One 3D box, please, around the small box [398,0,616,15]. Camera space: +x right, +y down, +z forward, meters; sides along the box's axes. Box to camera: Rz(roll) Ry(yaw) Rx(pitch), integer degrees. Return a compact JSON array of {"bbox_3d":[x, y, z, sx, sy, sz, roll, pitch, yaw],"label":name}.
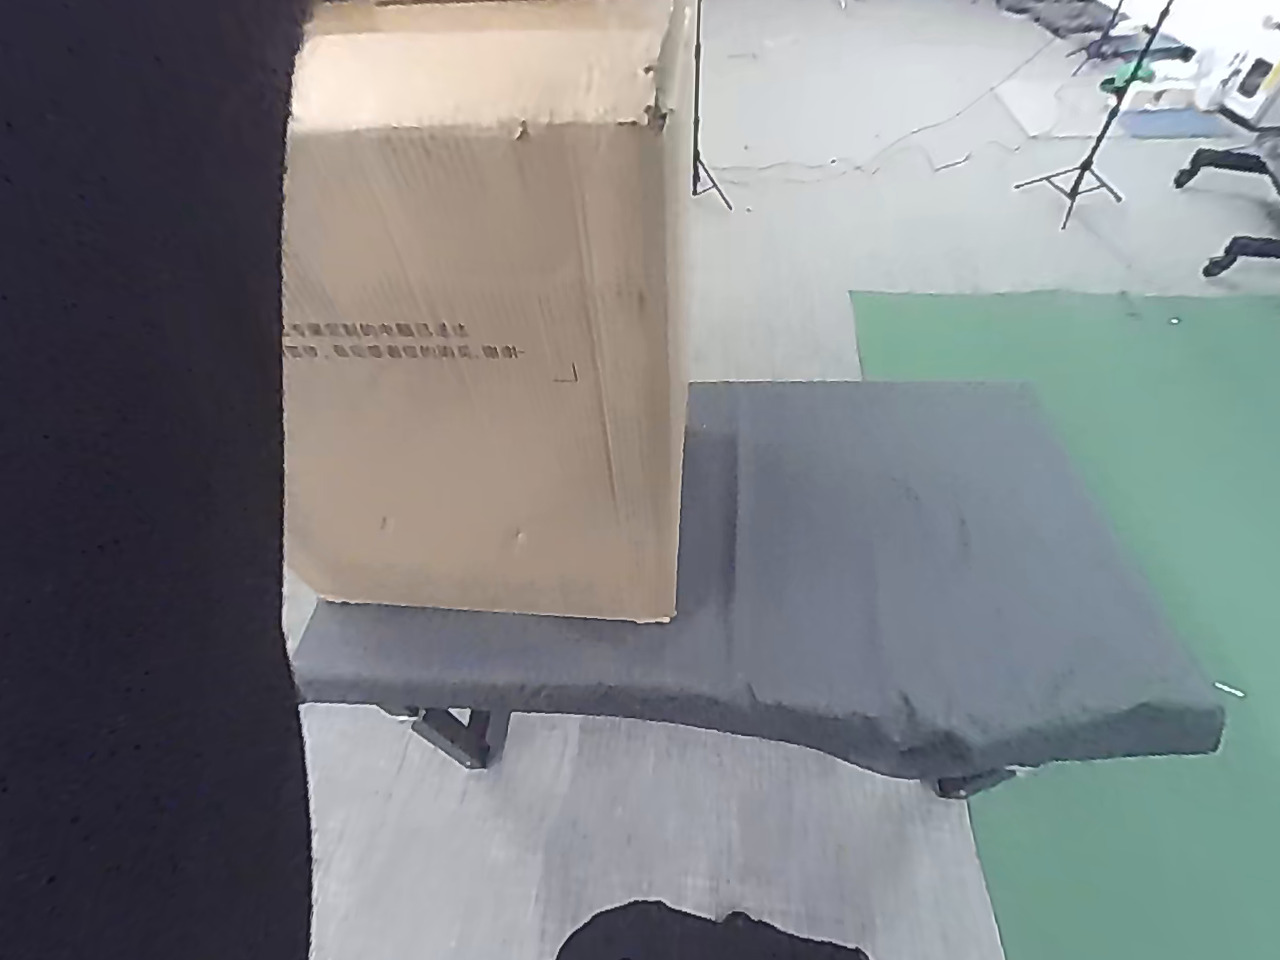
[{"bbox_3d":[-0.101,-0.468,0.405,0.179,0.176,0.168,4,48,5],"label":"small box"}]
